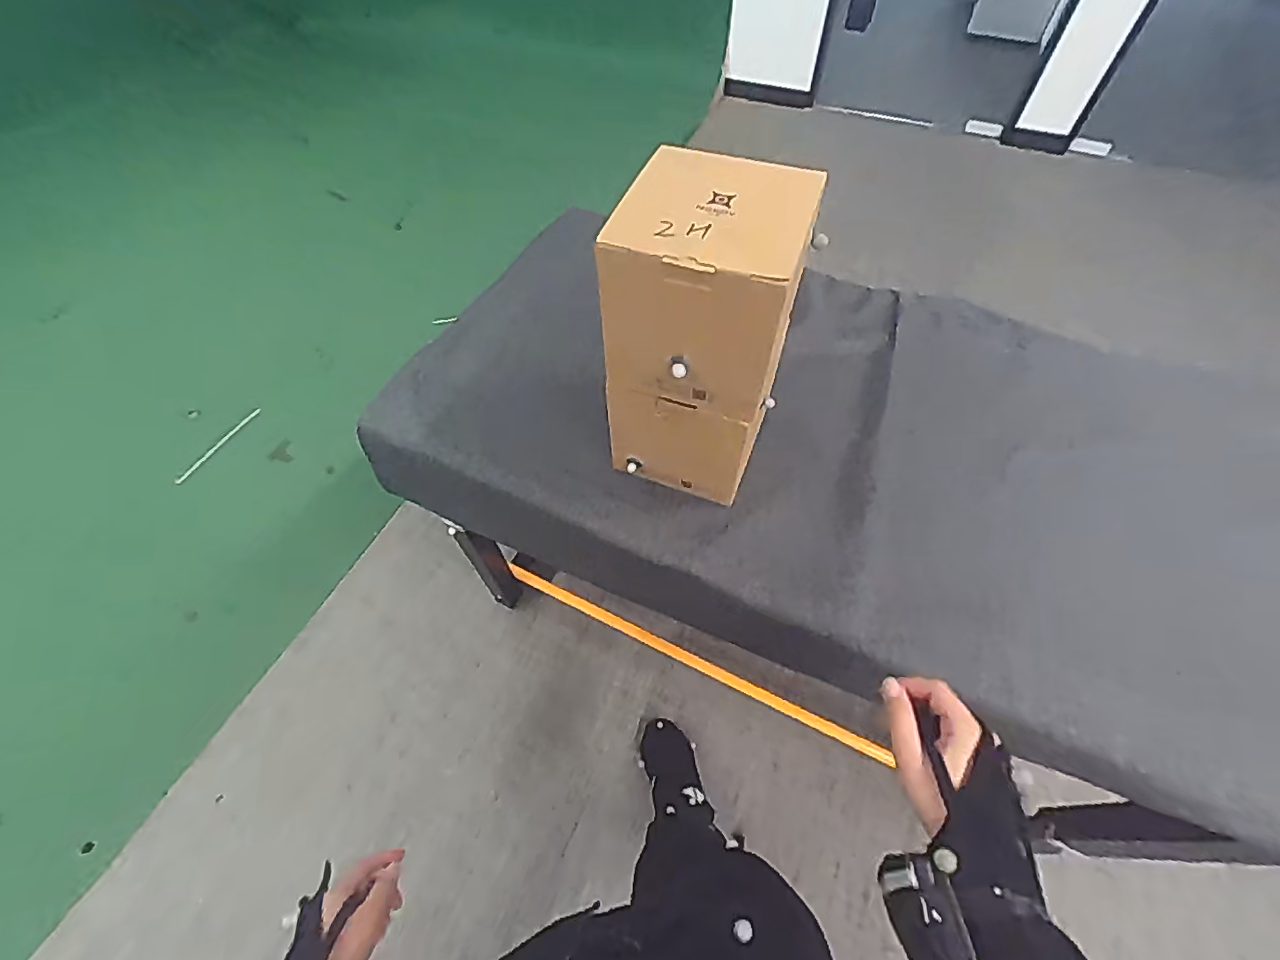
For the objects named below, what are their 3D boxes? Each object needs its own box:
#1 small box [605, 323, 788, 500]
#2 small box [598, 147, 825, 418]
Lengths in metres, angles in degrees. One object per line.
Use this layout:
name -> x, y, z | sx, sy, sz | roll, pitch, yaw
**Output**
small box -> 0.070, -0.102, 0.678 | 0.168, 0.176, 0.179 | 19, 58, 12
small box -> 0.068, -0.194, 0.541 | 0.168, 0.176, 0.179 | 16, 59, 12
